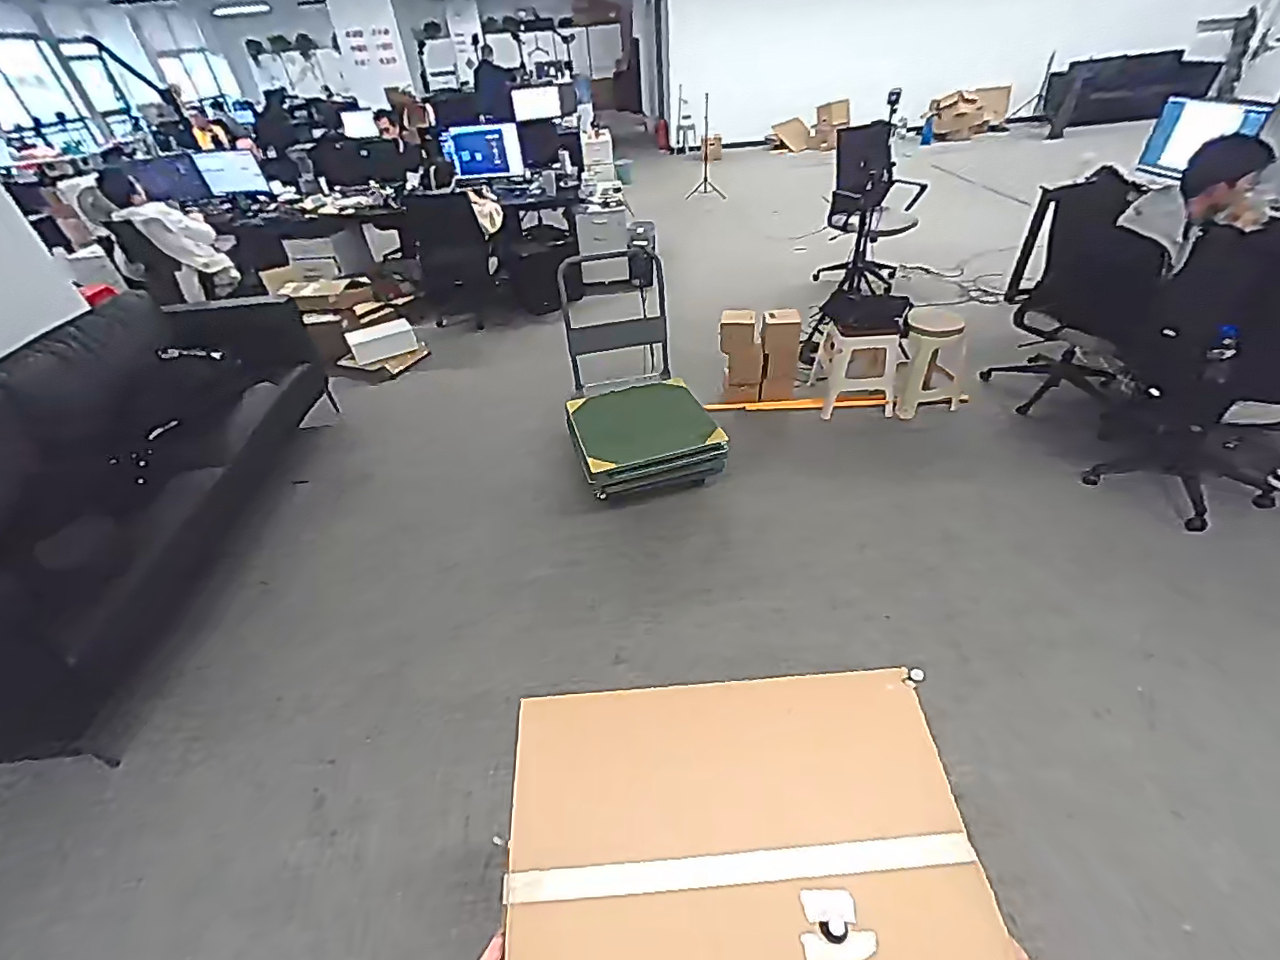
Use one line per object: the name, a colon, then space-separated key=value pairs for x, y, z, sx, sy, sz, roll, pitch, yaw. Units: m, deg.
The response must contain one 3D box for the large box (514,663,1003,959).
large box: x=0.091 y=0.425 z=0.598 sx=0.408 sy=0.320 sz=0.320 roll=-5 pitch=54 yaw=-2
